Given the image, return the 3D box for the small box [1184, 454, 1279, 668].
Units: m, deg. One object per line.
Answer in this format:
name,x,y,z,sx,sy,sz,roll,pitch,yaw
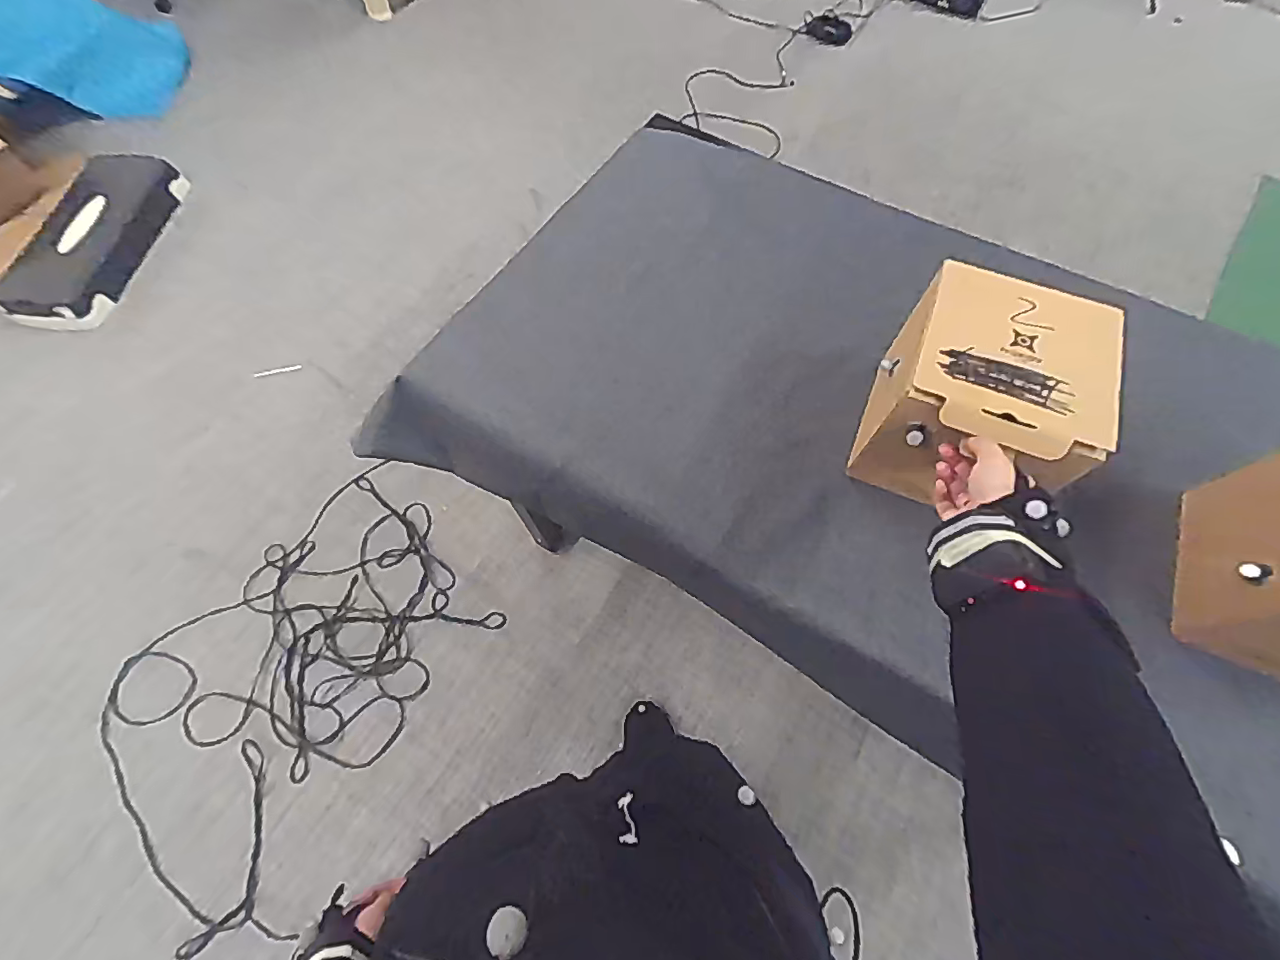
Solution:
small box,0.639,0.080,0.474,0.168,0.176,0.179,23,67,11
